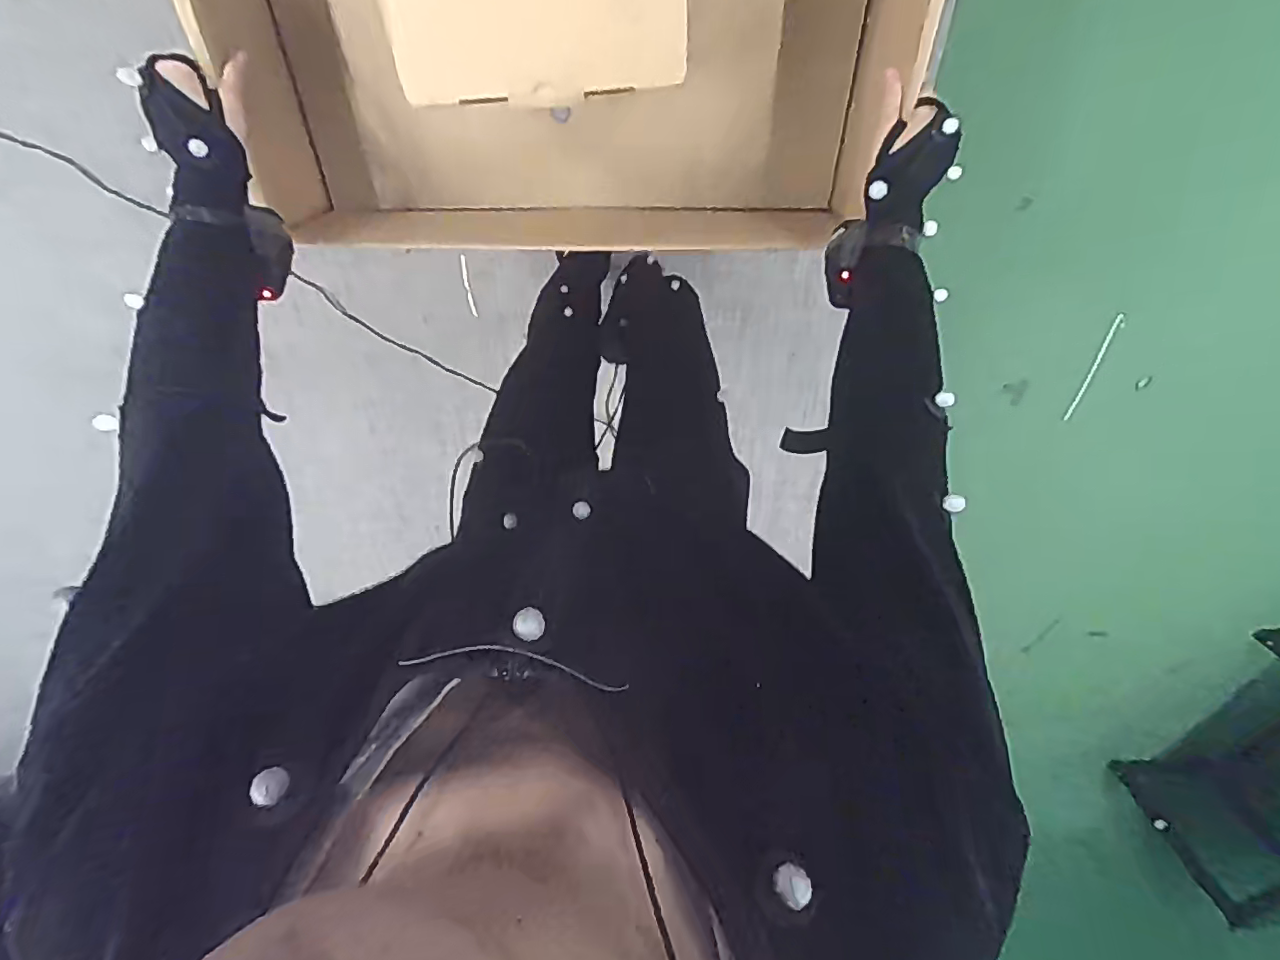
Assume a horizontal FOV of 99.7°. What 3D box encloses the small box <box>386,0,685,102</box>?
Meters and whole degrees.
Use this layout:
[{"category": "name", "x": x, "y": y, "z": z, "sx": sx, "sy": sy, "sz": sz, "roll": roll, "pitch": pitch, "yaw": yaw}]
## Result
[{"category": "small box", "x": -0.060, "y": -0.346, "z": 0.328, "sx": 0.168, "sy": 0.176, "sz": 0.179, "roll": -4, "pitch": 128, "yaw": 0}]
